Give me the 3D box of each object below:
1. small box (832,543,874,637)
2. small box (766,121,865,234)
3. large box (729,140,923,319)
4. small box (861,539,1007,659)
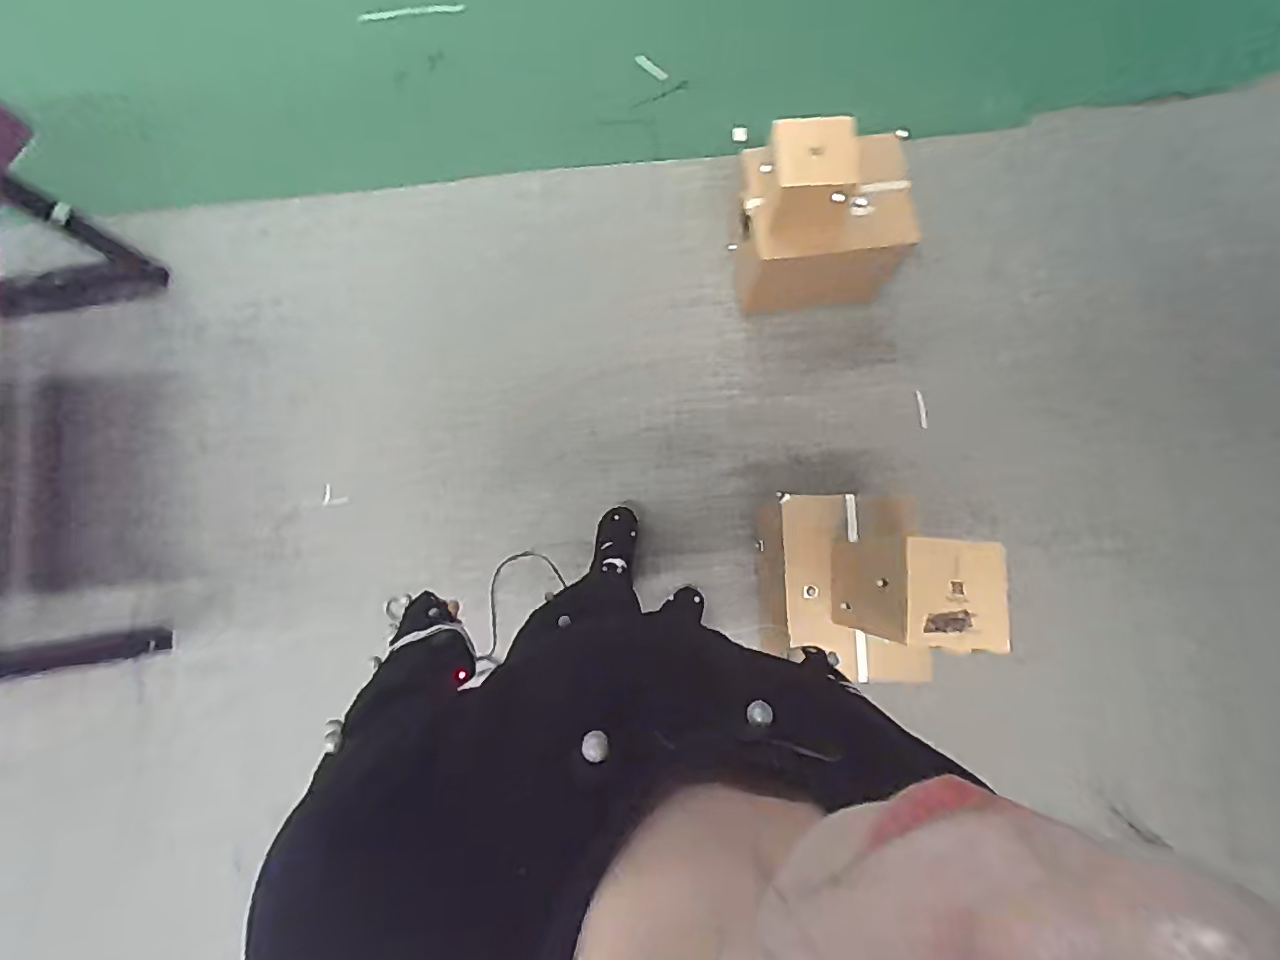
[{"bbox_3d":[0.502,0.225,1.102,0.168,0.176,0.179,4,81,-1],"label":"small box"},{"bbox_3d":[0.396,-0.692,1.254,0.179,0.176,0.168,-2,81,0],"label":"small box"},{"bbox_3d":[0.485,-0.674,1.499,0.408,0.320,0.320,-6,80,-1],"label":"large box"},{"bbox_3d":[0.500,0.201,0.939,0.168,0.176,0.179,5,80,-1],"label":"small box"}]
